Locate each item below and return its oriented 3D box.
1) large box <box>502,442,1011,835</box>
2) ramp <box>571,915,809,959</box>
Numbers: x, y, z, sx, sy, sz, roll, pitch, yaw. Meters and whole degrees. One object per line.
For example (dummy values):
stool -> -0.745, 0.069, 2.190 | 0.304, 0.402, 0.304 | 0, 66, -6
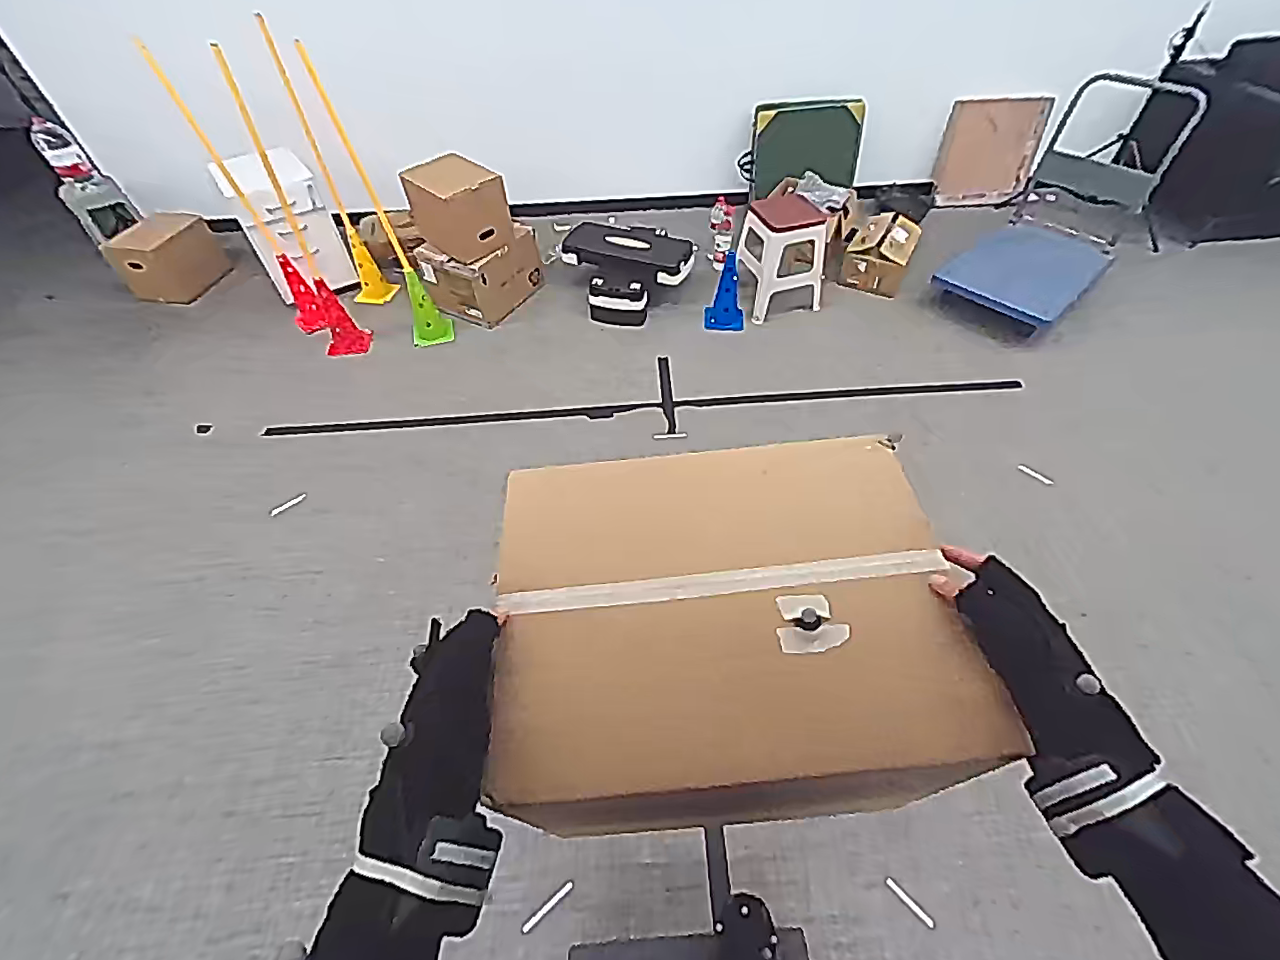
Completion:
large box -> 0.085, 0.189, 0.619 | 0.408, 0.320, 0.320 | -6, 53, 0
ramp -> 0.135, 1.364, 0.893 | 0.509, 0.206, 0.991 | -4, 51, -3
